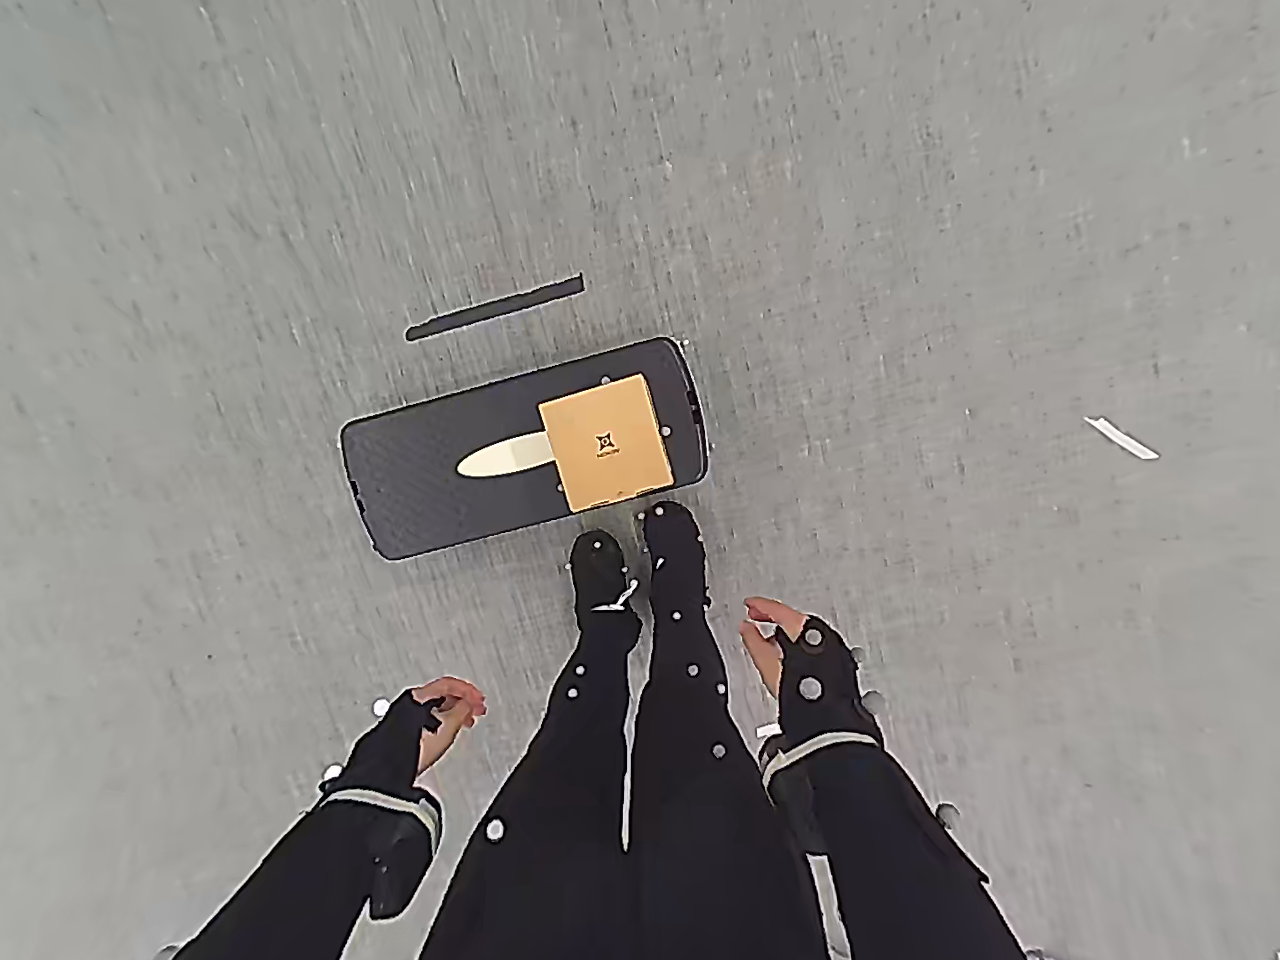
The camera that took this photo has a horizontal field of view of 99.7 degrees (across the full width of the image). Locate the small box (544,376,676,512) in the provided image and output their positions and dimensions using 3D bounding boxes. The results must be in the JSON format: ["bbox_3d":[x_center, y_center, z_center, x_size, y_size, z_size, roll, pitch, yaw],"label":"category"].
[{"bbox_3d":[-0.045,-0.063,0.899,0.168,0.176,0.179,-16,98,3],"label":"small box"}]
